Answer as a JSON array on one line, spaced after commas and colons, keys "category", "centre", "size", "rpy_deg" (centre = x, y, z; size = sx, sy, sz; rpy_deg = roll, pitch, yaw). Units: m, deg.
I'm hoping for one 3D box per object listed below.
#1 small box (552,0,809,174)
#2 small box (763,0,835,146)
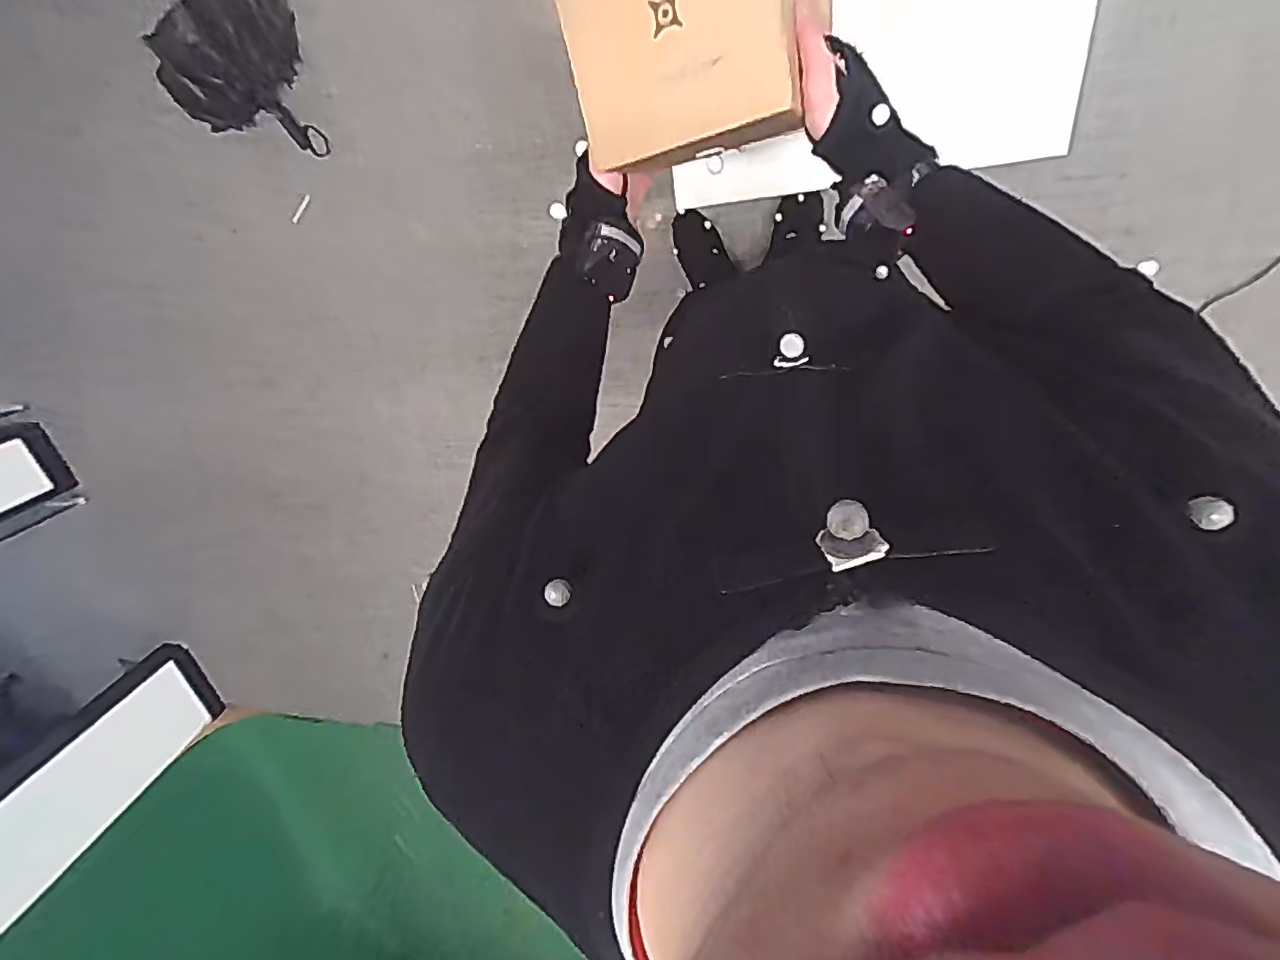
[{"category": "small box", "centre": [0.043, -0.374, 0.455], "size": [0.168, 0.176, 0.179], "rpy_deg": [-2, 117, 26]}, {"category": "small box", "centre": [0.135, -0.502, 0.641], "size": [0.168, 0.176, 0.179], "rpy_deg": [-2, 118, 14]}]
